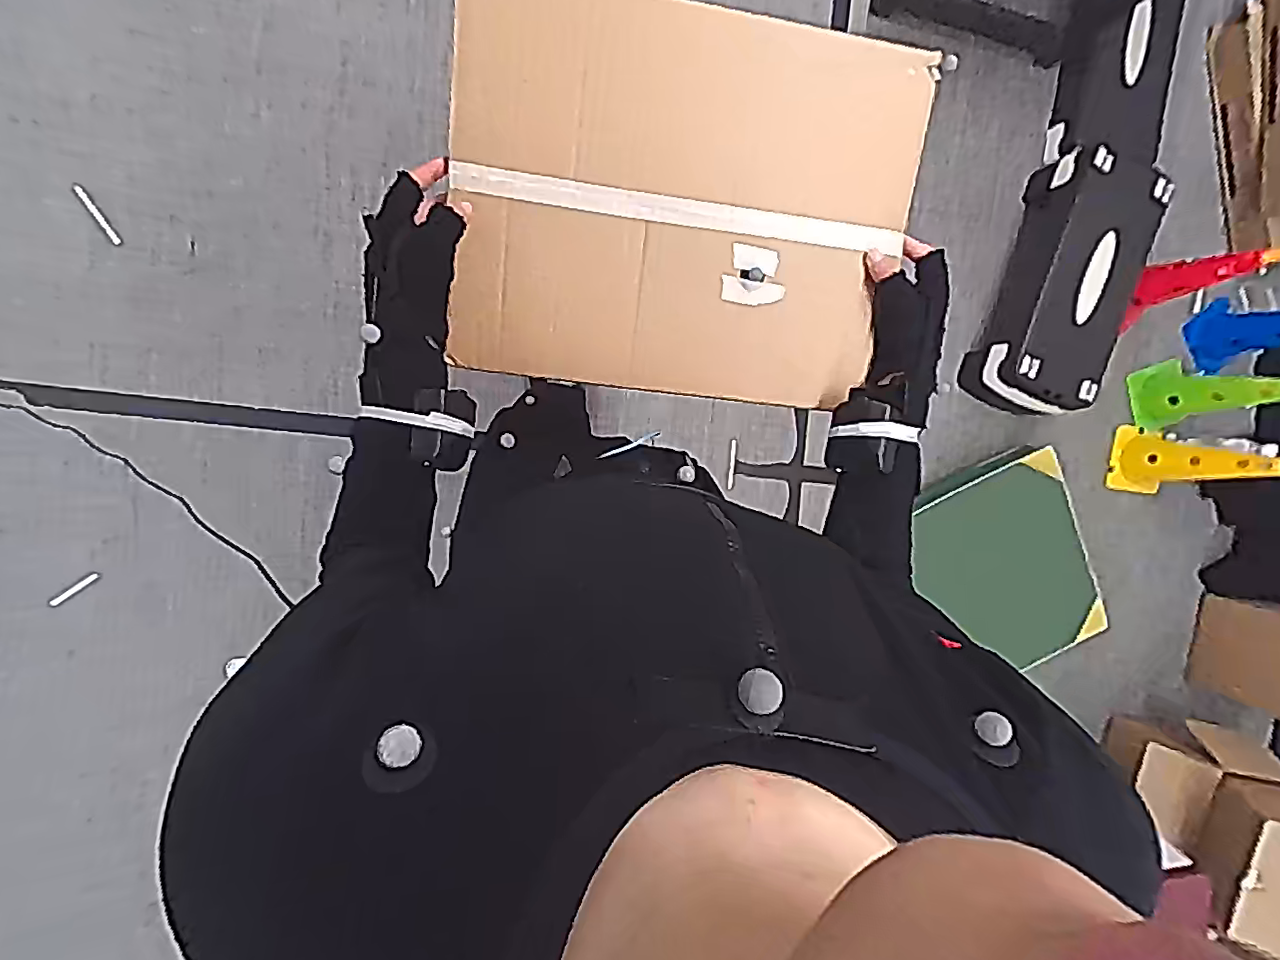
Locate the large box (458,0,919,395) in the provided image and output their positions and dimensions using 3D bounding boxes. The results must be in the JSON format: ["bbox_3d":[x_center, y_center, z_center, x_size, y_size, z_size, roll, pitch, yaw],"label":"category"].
[{"bbox_3d":[0.022,-0.284,0.636,0.408,0.320,0.320,5,104,-8],"label":"large box"}]
